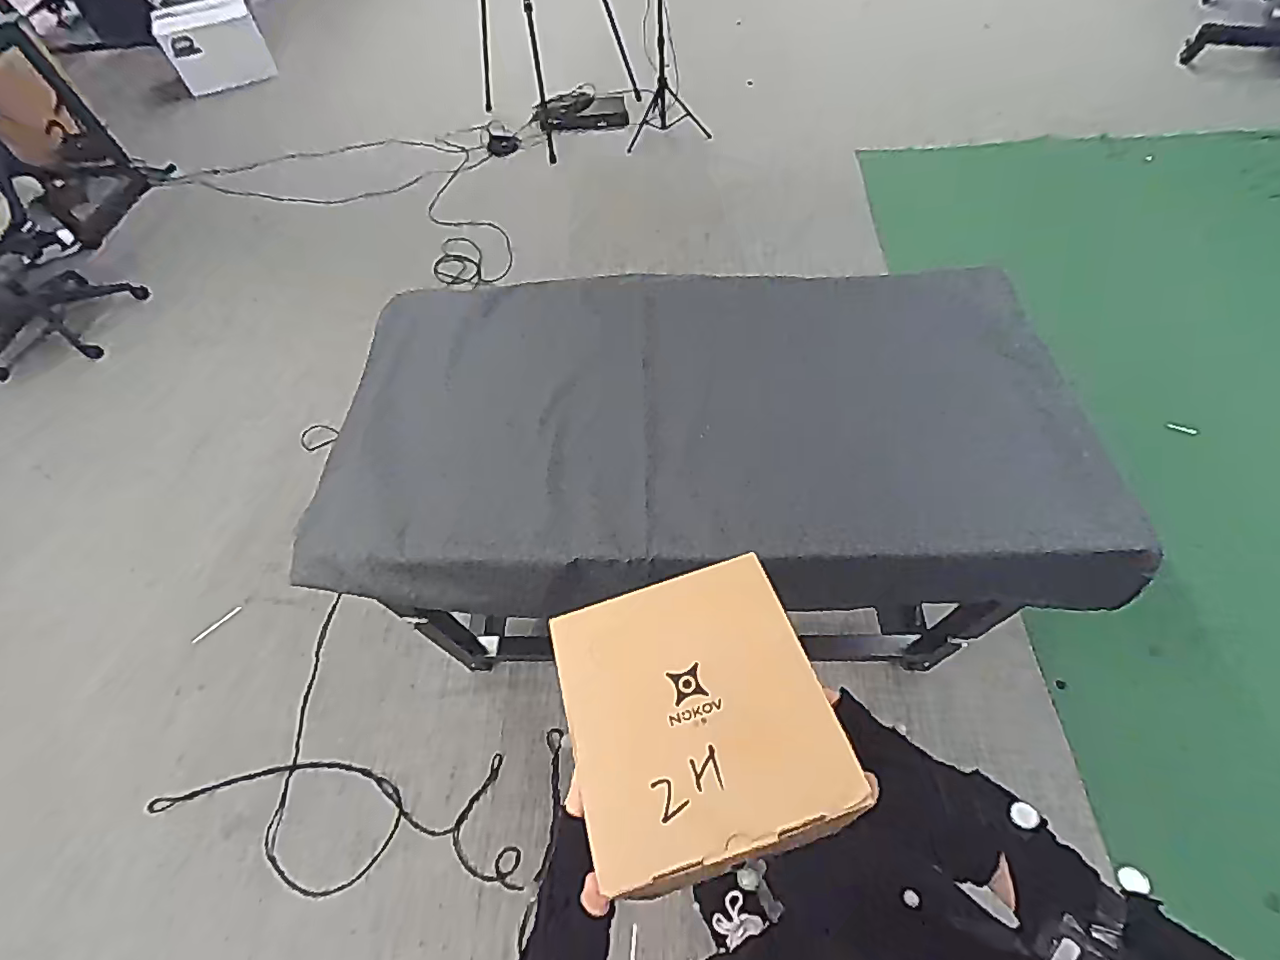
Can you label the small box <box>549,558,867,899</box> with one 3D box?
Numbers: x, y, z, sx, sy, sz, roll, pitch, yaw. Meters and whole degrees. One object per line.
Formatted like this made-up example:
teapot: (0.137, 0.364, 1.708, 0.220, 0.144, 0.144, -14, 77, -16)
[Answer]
small box: (0.042, 0.193, 0.415, 0.168, 0.176, 0.179, -18, 52, -2)
